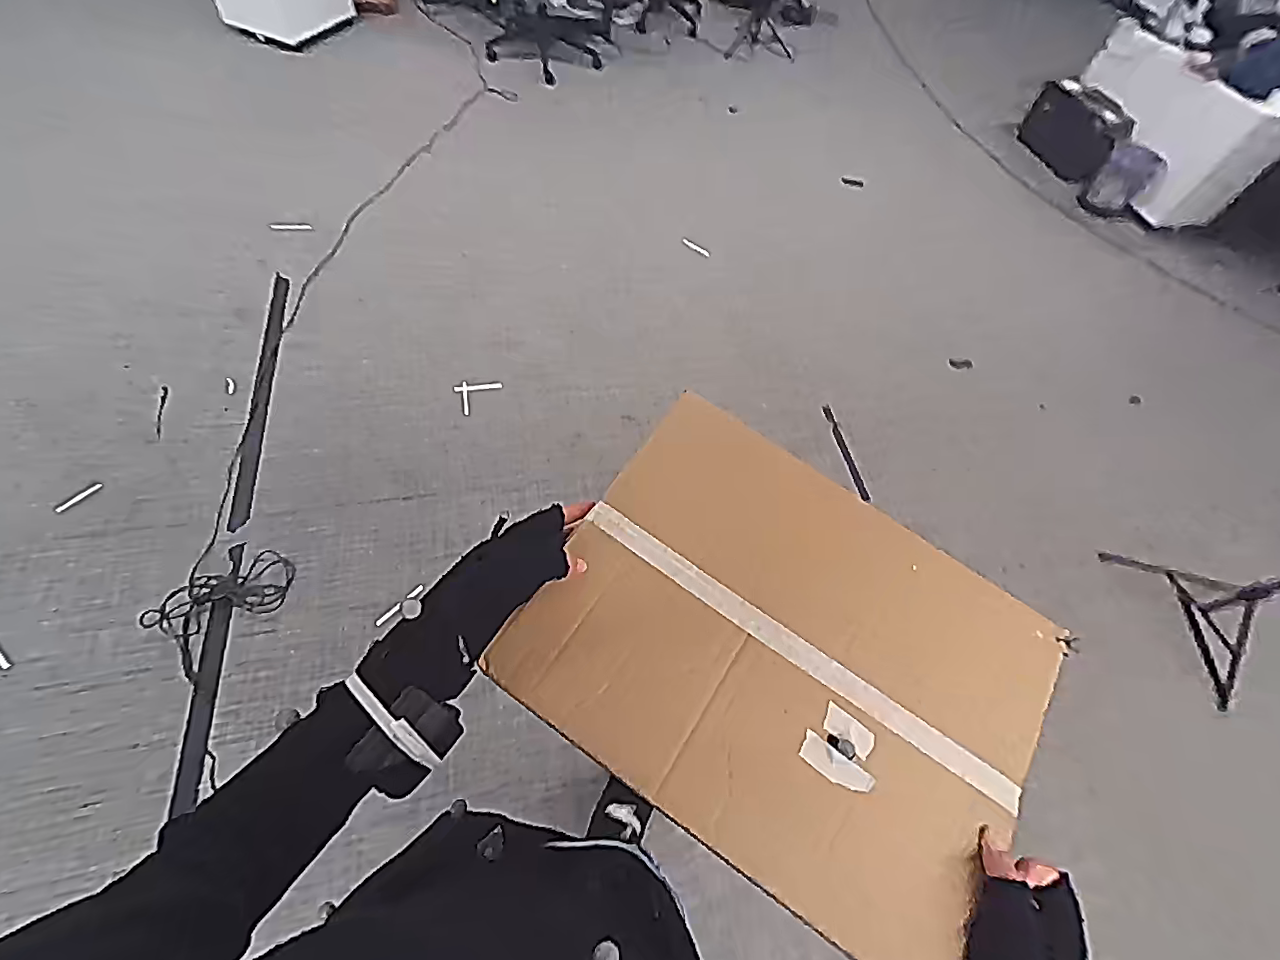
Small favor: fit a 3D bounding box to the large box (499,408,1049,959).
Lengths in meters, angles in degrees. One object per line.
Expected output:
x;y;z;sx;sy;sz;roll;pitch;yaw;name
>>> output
0.111;0.200;0.598;0.408;0.320;0.320;34;69;7;large box
